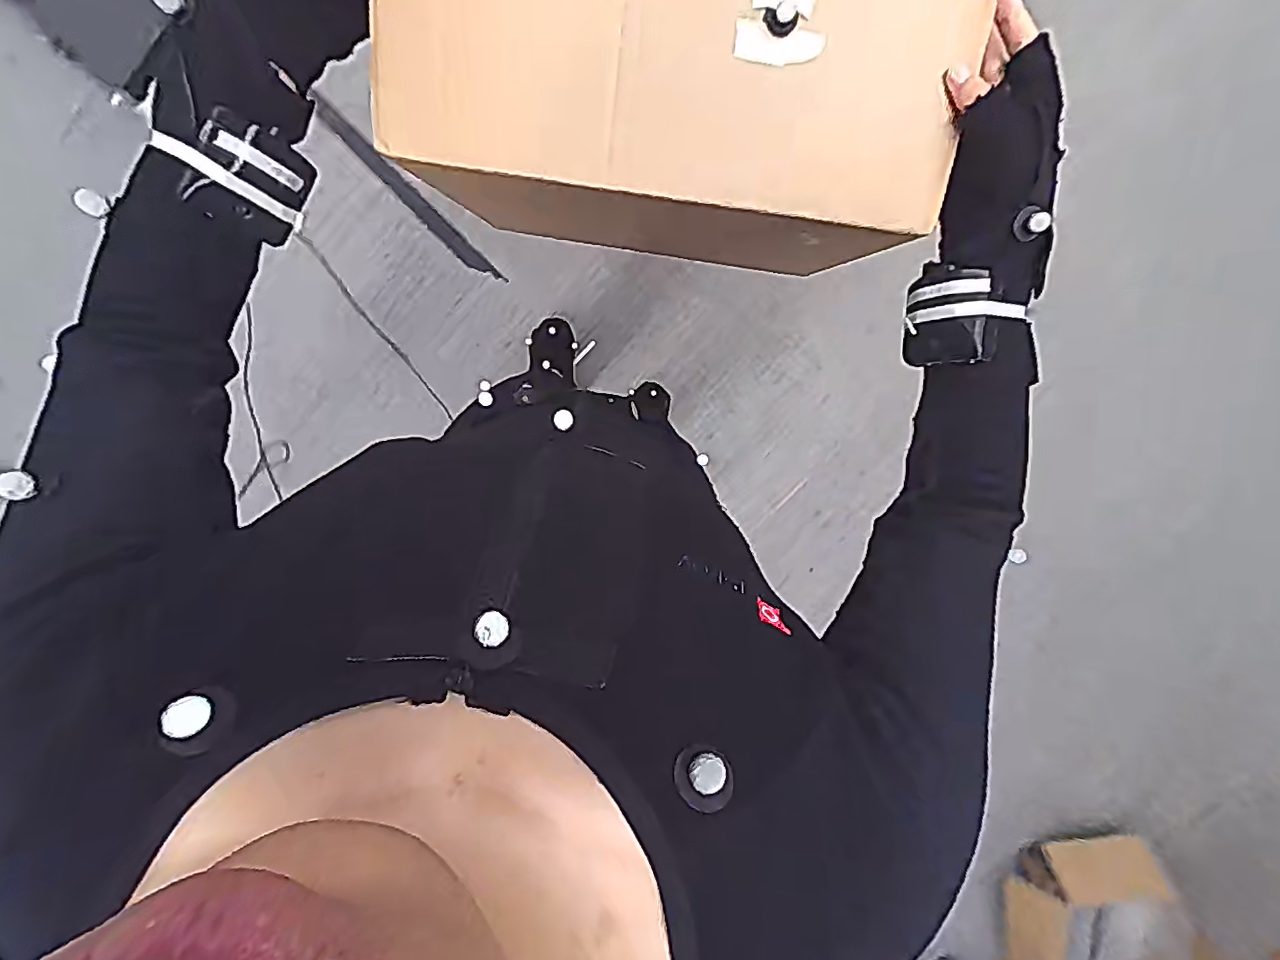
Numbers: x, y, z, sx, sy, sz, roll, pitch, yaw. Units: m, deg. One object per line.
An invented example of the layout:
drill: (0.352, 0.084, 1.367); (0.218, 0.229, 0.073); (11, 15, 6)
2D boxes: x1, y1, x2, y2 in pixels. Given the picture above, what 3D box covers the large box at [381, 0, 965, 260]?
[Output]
large box: (0.026, -0.404, 0.501); (0.408, 0.320, 0.320); (6, 106, -2)
